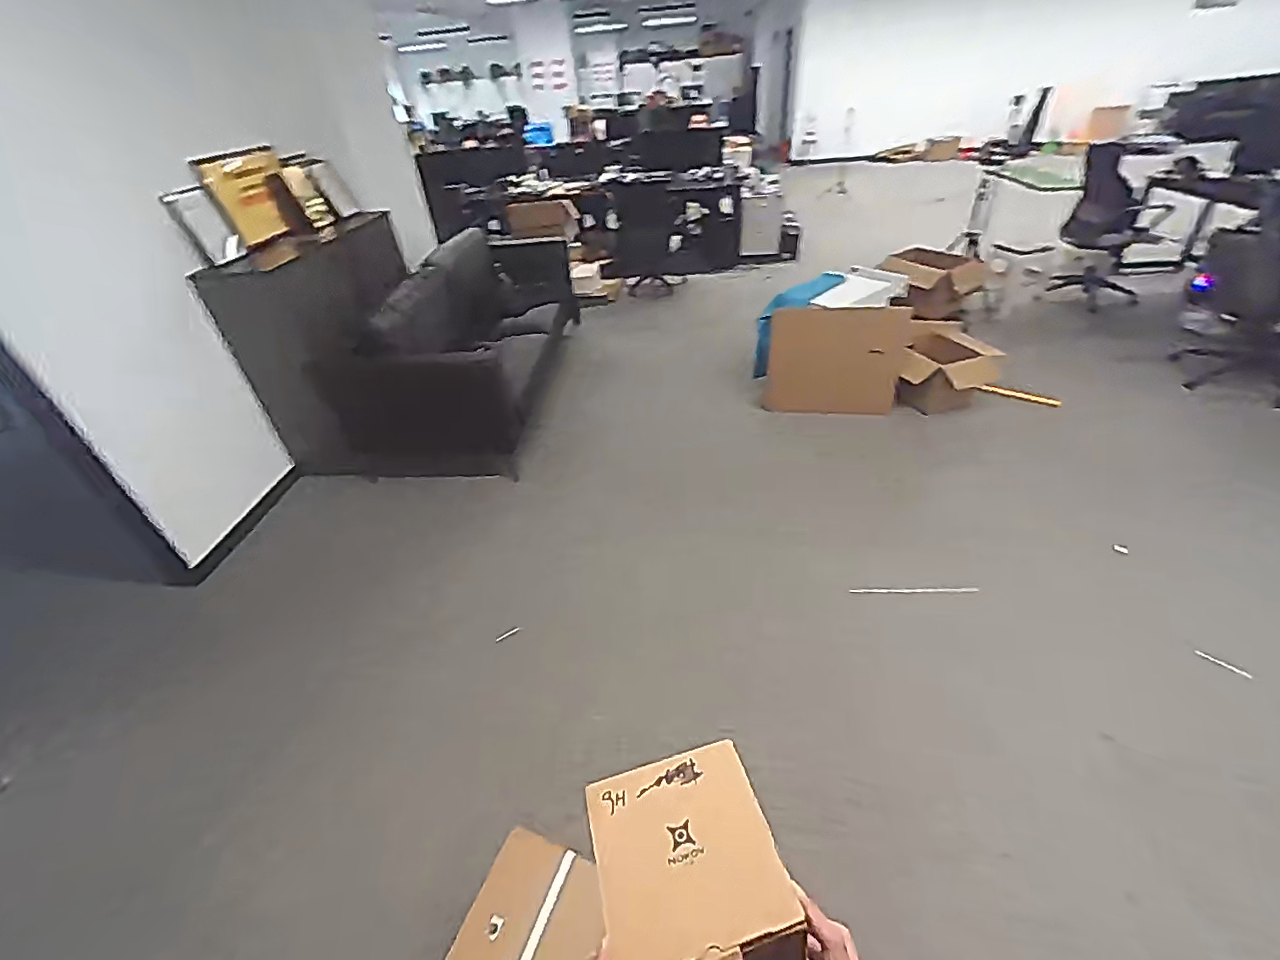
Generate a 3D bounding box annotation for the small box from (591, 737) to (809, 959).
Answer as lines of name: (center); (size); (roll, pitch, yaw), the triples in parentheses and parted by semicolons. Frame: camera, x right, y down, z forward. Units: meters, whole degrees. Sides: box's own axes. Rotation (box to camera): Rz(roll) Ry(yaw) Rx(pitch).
small box: (0.057, 0.404, 0.543); (0.168, 0.176, 0.179); (-14, 32, -6)
